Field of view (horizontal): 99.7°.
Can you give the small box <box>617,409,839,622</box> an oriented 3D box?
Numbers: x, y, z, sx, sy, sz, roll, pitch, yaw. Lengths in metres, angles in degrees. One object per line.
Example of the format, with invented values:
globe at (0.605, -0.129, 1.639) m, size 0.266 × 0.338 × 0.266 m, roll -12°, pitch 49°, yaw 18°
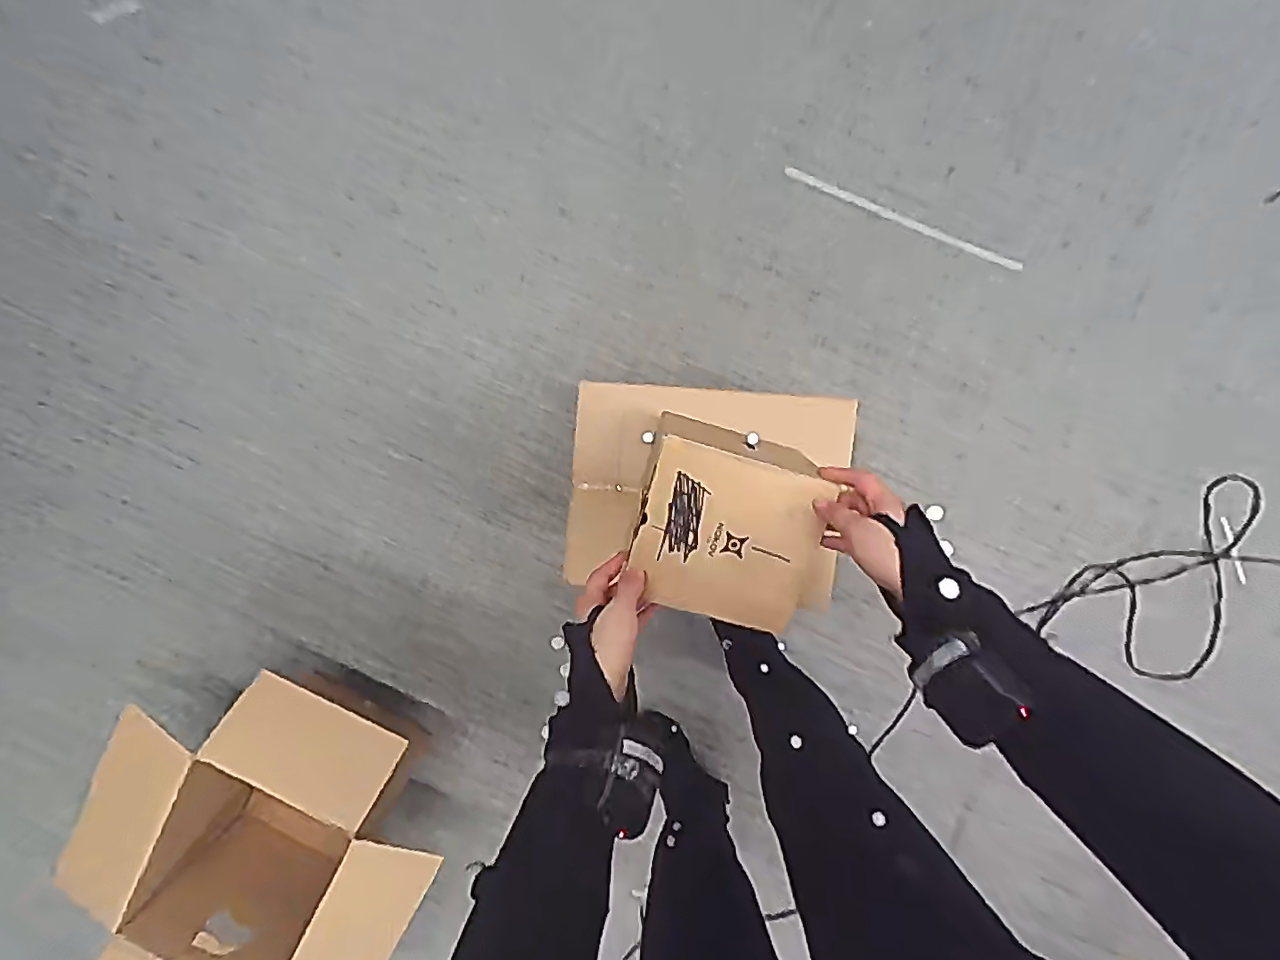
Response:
small box at (0.085, 0.026, 0.601) m, size 0.179 × 0.176 × 0.168 m, roll 16°, pitch 105°, yaw -2°
